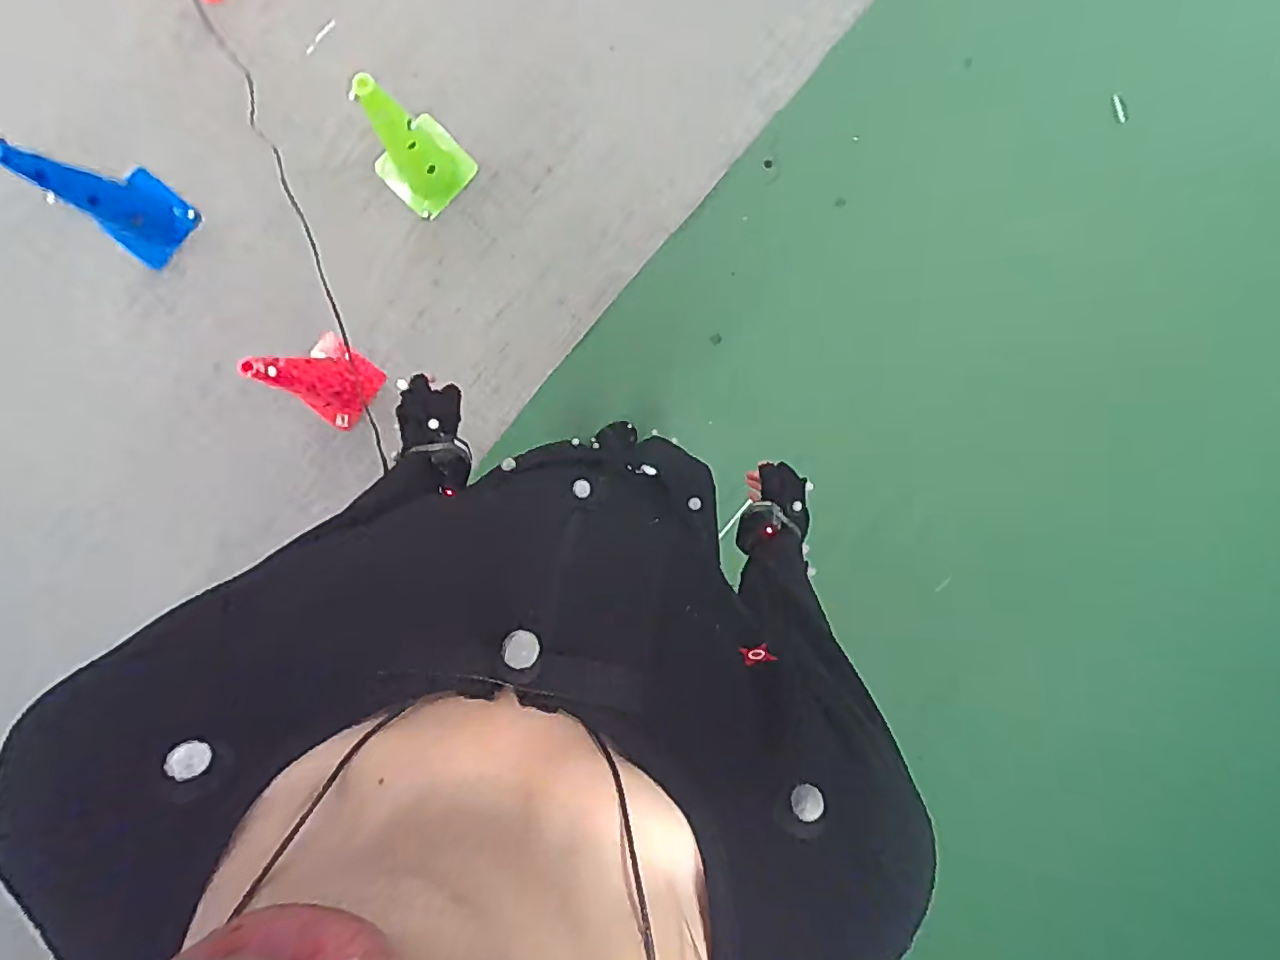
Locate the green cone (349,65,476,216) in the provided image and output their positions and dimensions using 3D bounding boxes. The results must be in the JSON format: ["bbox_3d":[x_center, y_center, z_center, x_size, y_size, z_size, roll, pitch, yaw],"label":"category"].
[{"bbox_3d":[-0.550,-0.806,1.234,0.202,0.368,0.200,44,92,-4],"label":"green cone"}]
